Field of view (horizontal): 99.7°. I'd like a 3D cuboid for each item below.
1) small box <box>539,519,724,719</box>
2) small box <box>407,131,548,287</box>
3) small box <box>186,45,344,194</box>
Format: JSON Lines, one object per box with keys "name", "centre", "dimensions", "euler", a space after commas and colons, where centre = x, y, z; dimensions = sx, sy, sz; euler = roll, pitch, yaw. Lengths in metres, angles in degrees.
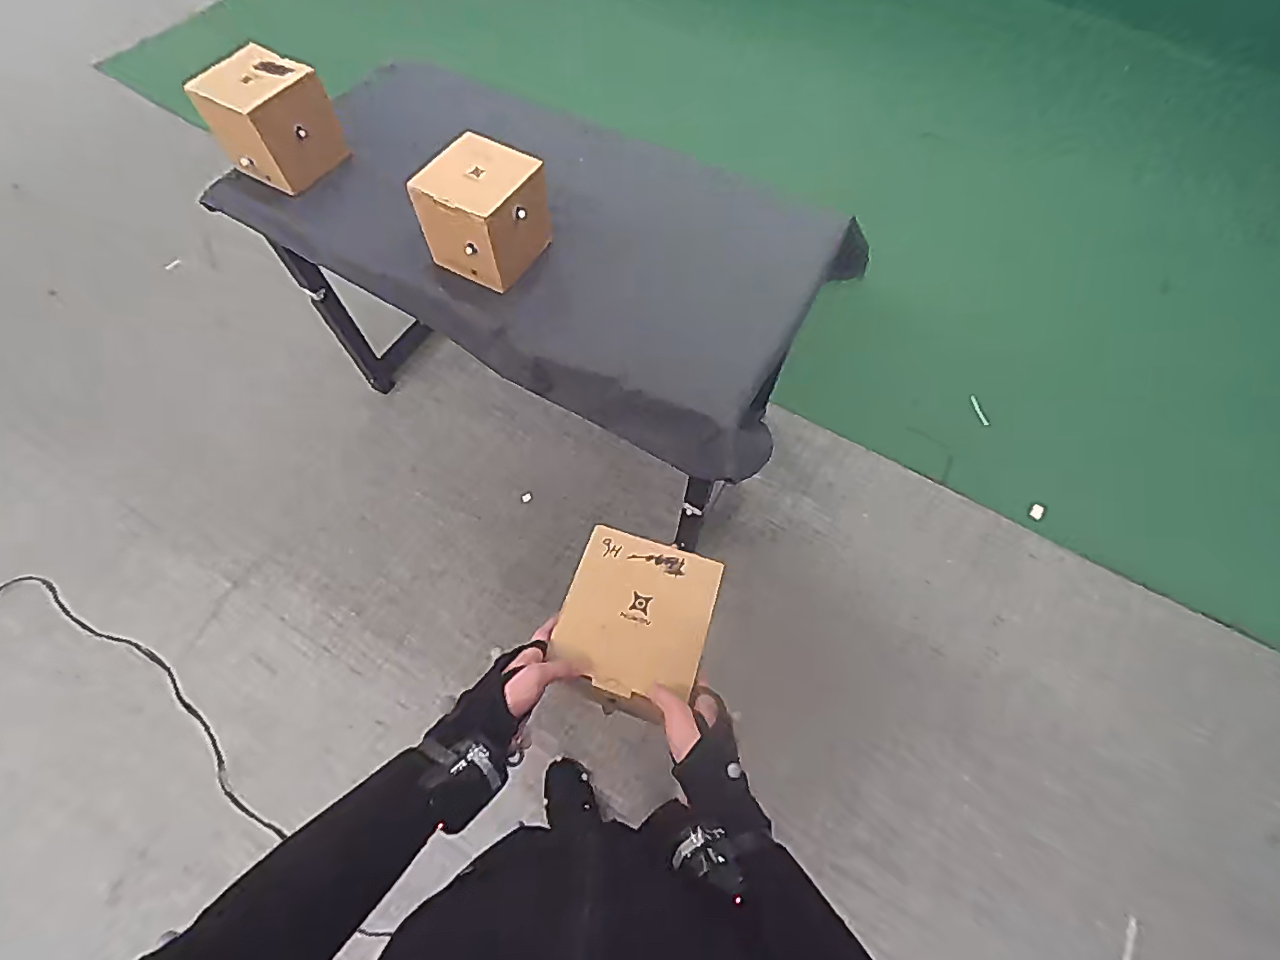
{"name": "small box", "centre": [-0.007, 0.179, 0.670], "dimensions": [0.168, 0.176, 0.179], "euler": [17, 61, 7]}
{"name": "small box", "centre": [-0.284, -0.491, 0.995], "dimensions": [0.168, 0.176, 0.179], "euler": [27, 65, 10]}
{"name": "small box", "centre": [-0.739, -0.727, 1.097], "dimensions": [0.168, 0.176, 0.179], "euler": [27, 67, 11]}
